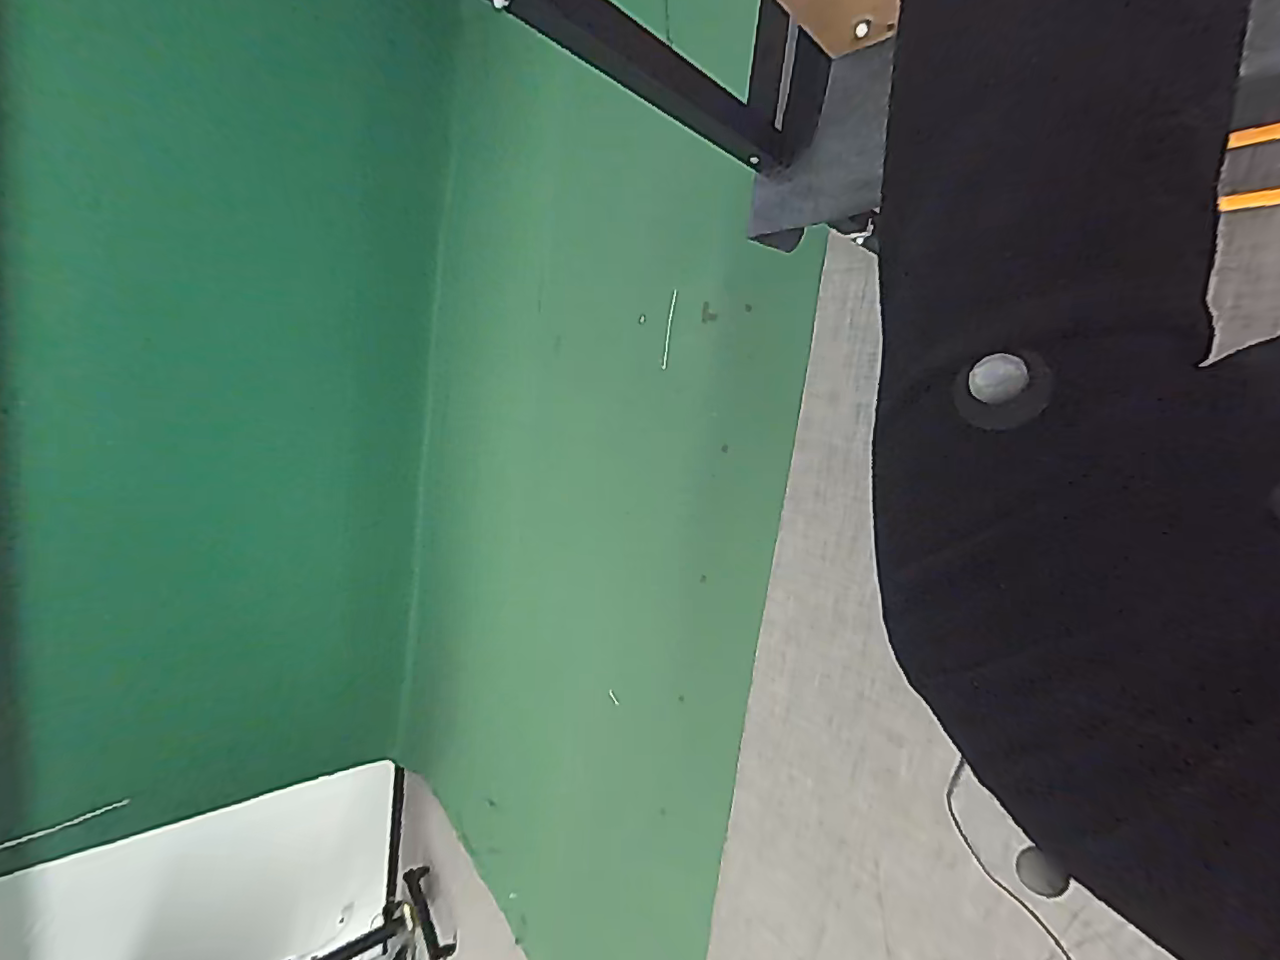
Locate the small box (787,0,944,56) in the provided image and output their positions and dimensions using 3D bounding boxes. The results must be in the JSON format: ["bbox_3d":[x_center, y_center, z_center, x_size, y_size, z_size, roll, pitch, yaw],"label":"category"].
[{"bbox_3d":[0.318,-0.744,0.744,0.168,0.176,0.179,16,102,47],"label":"small box"}]
